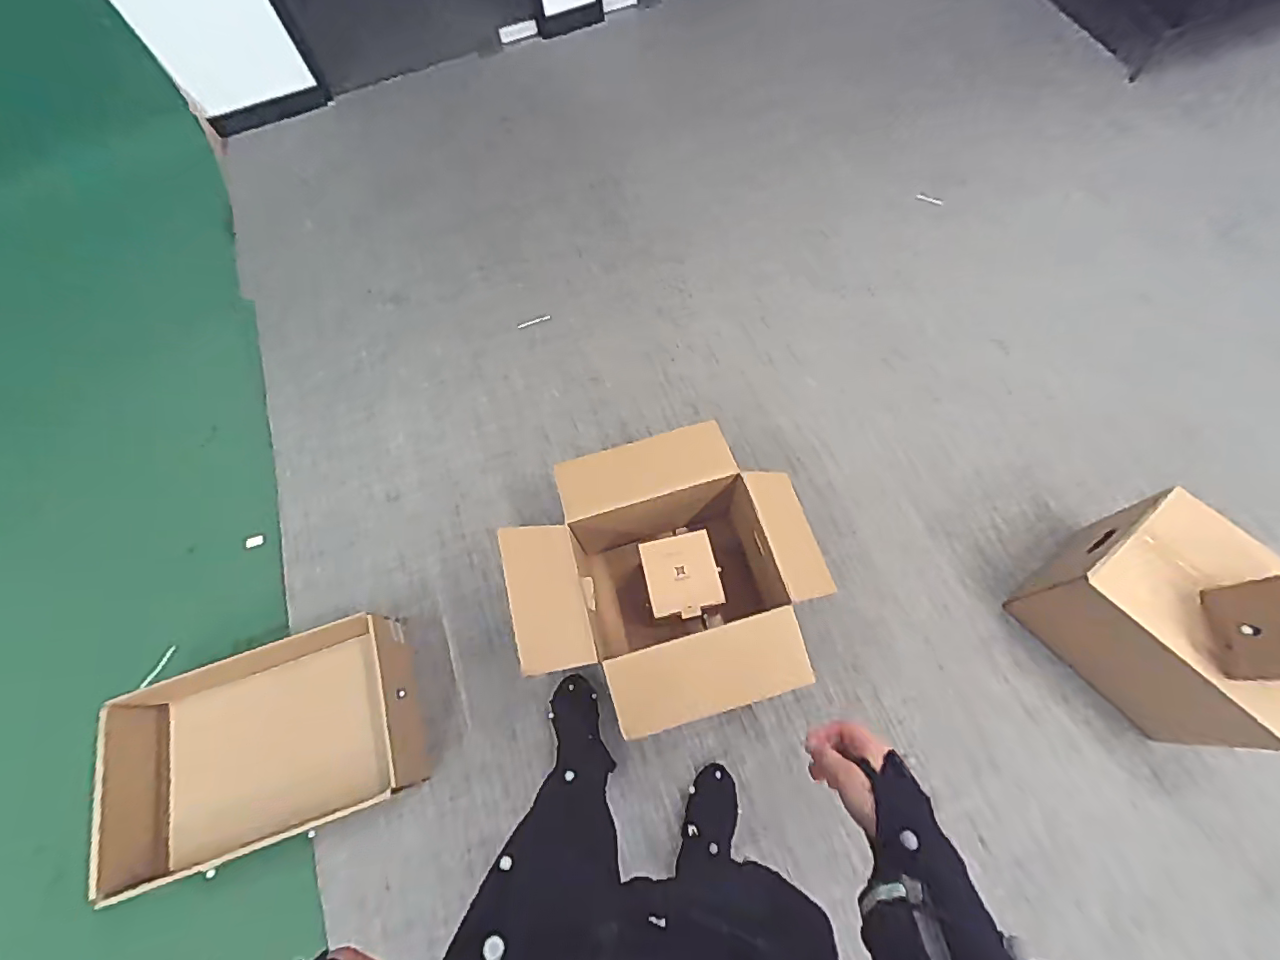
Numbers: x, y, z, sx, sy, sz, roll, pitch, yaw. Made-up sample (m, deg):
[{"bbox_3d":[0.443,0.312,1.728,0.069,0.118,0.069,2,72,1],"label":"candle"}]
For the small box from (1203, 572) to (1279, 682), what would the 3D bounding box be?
[{"bbox_3d":[1.138,0.257,0.927,0.179,0.176,0.168,-1,68,6],"label":"small box"}]
